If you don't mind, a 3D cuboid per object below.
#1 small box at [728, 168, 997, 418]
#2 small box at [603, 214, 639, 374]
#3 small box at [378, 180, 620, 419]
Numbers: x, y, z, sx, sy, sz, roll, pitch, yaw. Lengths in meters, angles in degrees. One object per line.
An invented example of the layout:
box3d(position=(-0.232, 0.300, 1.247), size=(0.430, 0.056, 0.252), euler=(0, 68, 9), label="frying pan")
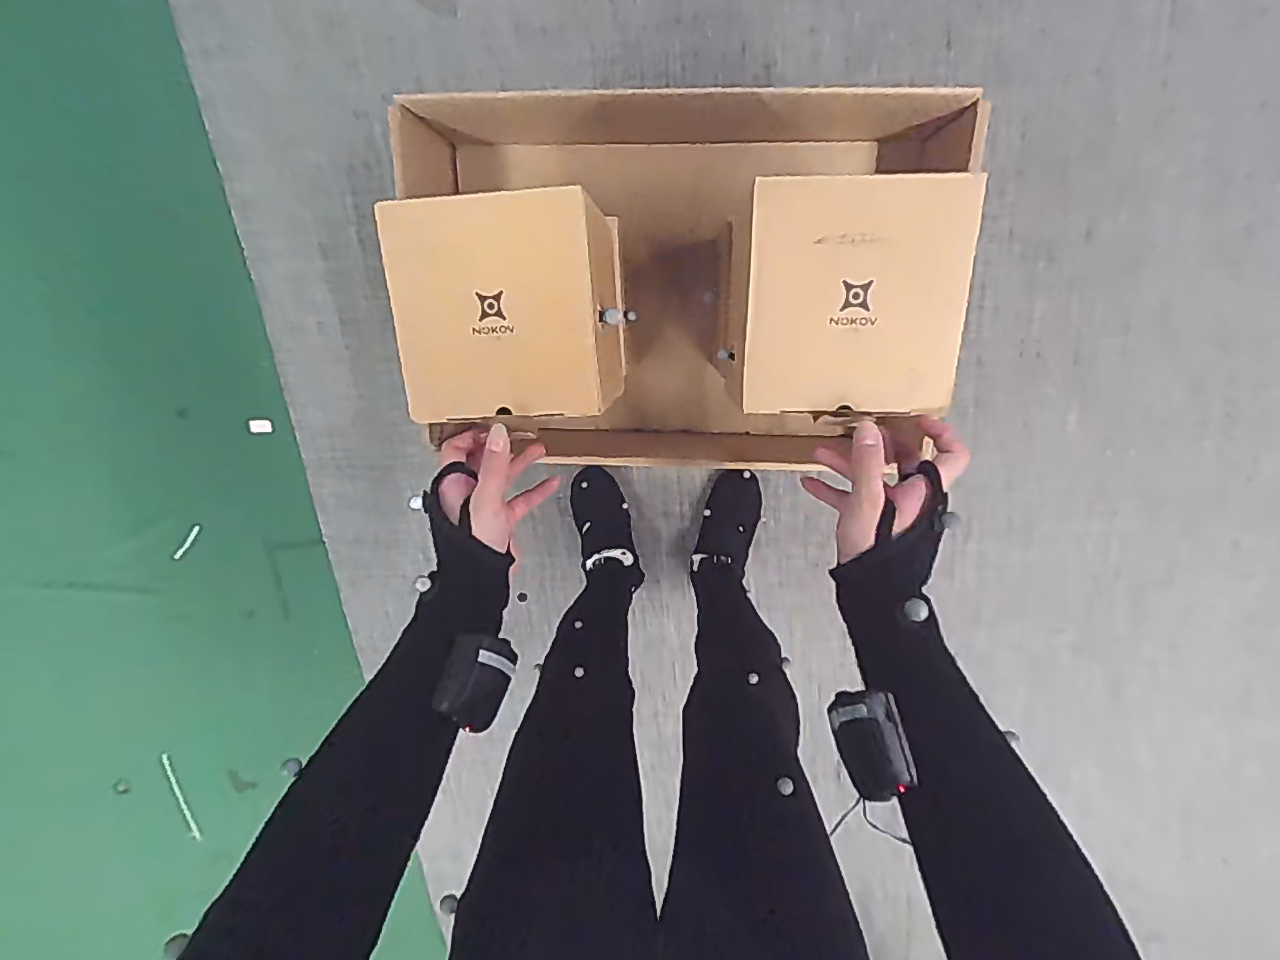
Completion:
box3d(position=(0.171, -0.156, 0.479), size=(0.168, 0.176, 0.179), euler=(2, 105, 3), label="small box")
box3d(position=(-0.096, -0.215, 0.656), size=(0.179, 0.176, 0.168), euler=(0, 106, 4), label="small box")
box3d(position=(-0.110, -0.158, 0.503), size=(0.168, 0.176, 0.179), euler=(-2, 106, 4), label="small box")
